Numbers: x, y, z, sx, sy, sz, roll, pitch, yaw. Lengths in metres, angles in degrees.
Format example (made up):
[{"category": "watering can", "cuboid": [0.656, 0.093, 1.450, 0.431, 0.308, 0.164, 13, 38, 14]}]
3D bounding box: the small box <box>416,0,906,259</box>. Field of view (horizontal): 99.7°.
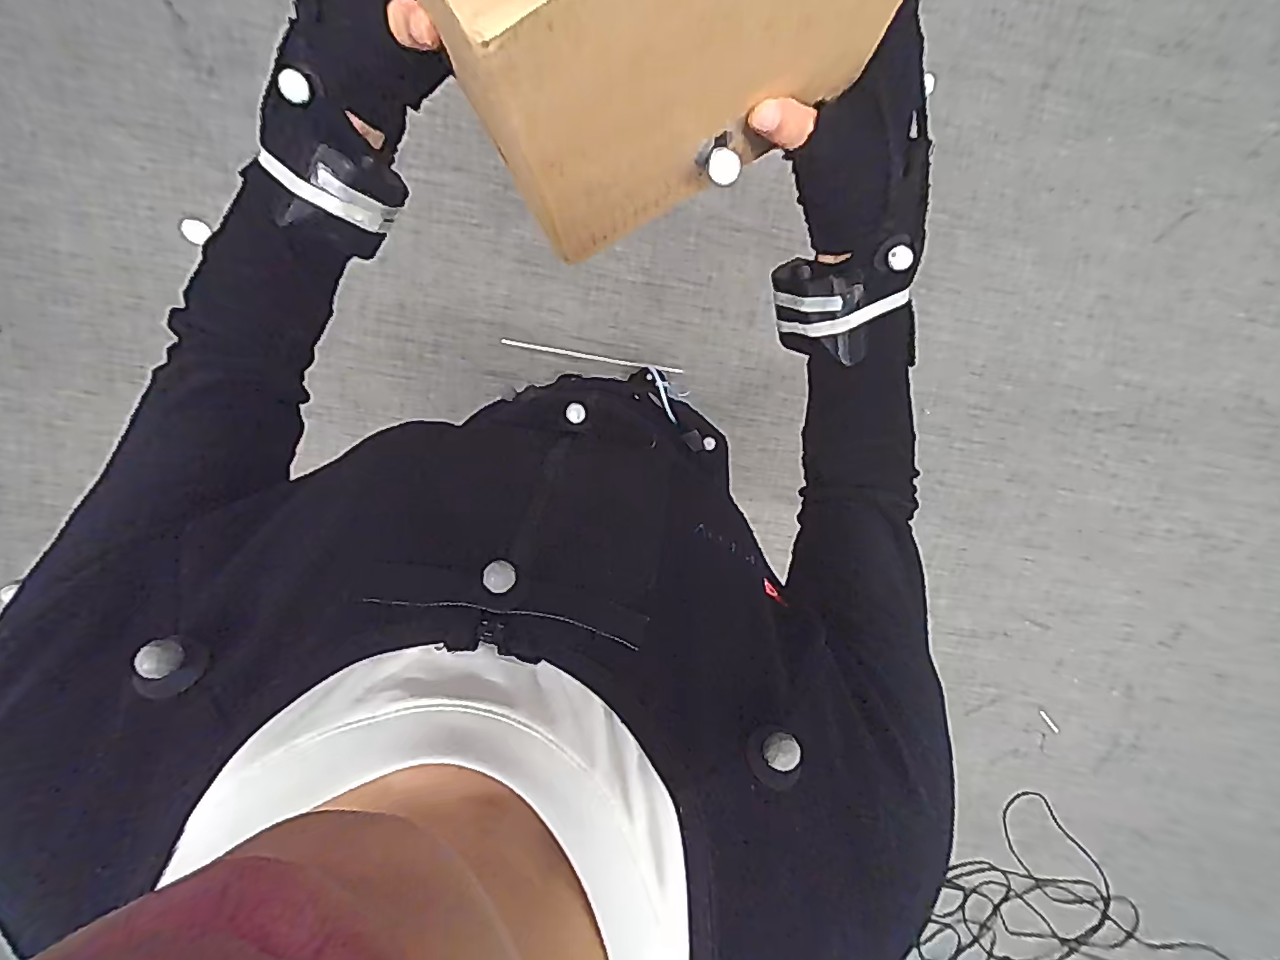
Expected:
[{"category": "small box", "cuboid": [-0.003, -0.222, 0.210, 0.179, 0.176, 0.168, -29, 92, 1]}]
